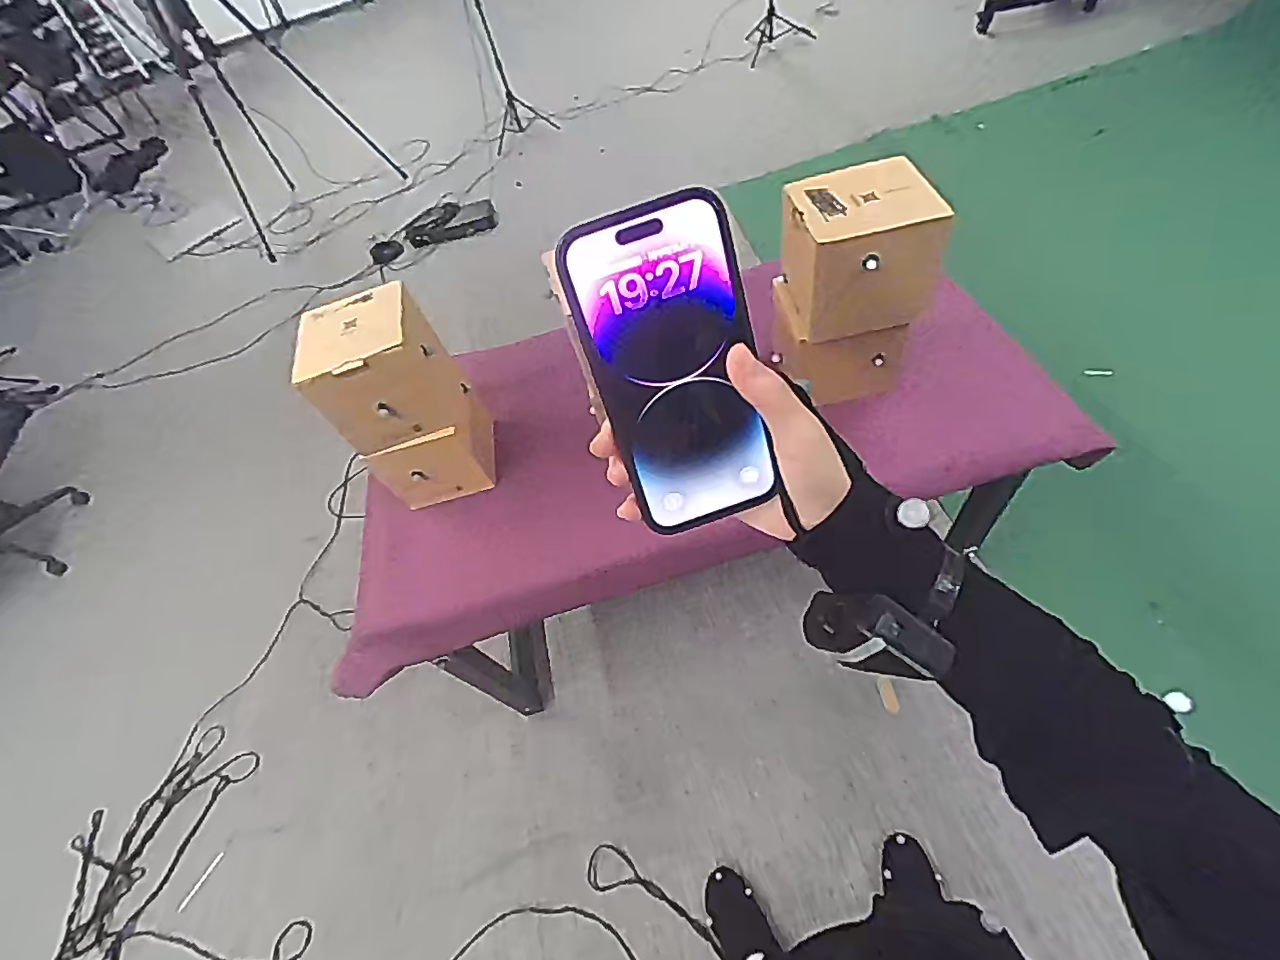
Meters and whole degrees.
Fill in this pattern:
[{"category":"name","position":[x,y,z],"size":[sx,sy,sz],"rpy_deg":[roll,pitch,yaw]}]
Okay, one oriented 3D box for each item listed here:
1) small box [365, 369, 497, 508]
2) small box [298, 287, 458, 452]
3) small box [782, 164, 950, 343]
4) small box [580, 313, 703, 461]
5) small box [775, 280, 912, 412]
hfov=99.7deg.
[{"category":"small box","position":[-0.371,-0.067,0.989],"size":[0.168,0.176,0.179],"rpy_deg":[-16,53,3]},{"category":"small box","position":[-0.405,-0.166,0.863],"size":[0.168,0.176,0.179],"rpy_deg":[-19,54,-1]},{"category":"small box","position":[0.317,-0.326,0.798],"size":[0.179,0.176,0.168],"rpy_deg":[-11,53,5]},{"category":"small box","position":[0.008,-0.160,0.959],"size":[0.179,0.176,0.168],"rpy_deg":[-16,53,3]},{"category":"small box","position":[0.338,-0.242,0.938],"size":[0.179,0.176,0.168],"rpy_deg":[-11,53,6]}]
